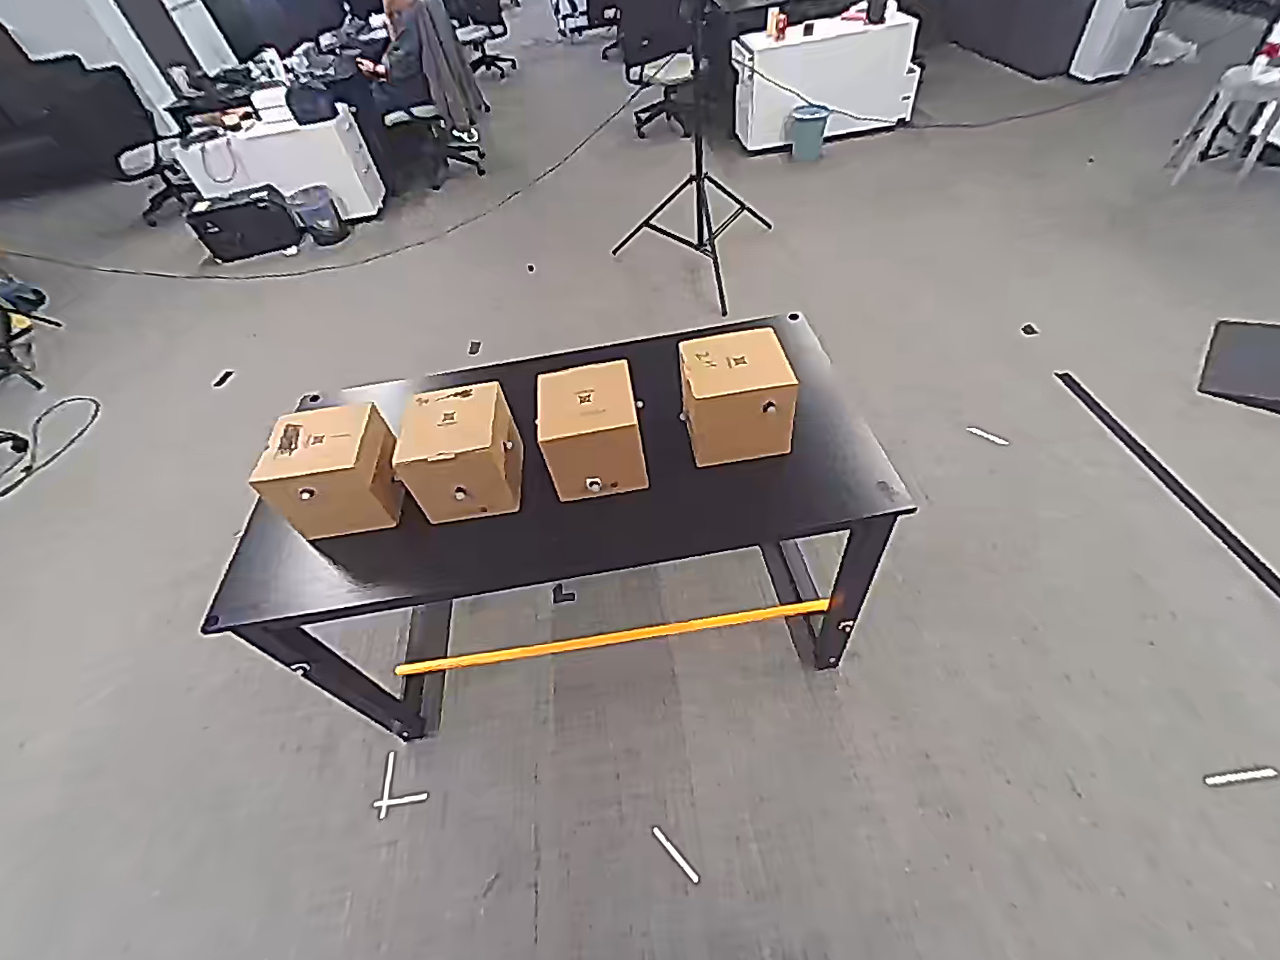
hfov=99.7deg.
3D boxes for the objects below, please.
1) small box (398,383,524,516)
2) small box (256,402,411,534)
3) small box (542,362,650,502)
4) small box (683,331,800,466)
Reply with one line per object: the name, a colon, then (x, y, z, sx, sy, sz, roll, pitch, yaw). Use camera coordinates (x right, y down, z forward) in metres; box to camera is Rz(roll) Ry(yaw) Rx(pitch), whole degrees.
small box: (-0.314, -0.048, 0.988, 0.168, 0.176, 0.179, -8, 49, 0)
small box: (-0.545, -0.018, 0.995, 0.179, 0.176, 0.168, -8, 50, 0)
small box: (-0.079, -0.086, 0.989, 0.168, 0.176, 0.179, -11, 50, 1)
small box: (0.178, -0.147, 0.998, 0.179, 0.176, 0.168, -9, 49, 2)
